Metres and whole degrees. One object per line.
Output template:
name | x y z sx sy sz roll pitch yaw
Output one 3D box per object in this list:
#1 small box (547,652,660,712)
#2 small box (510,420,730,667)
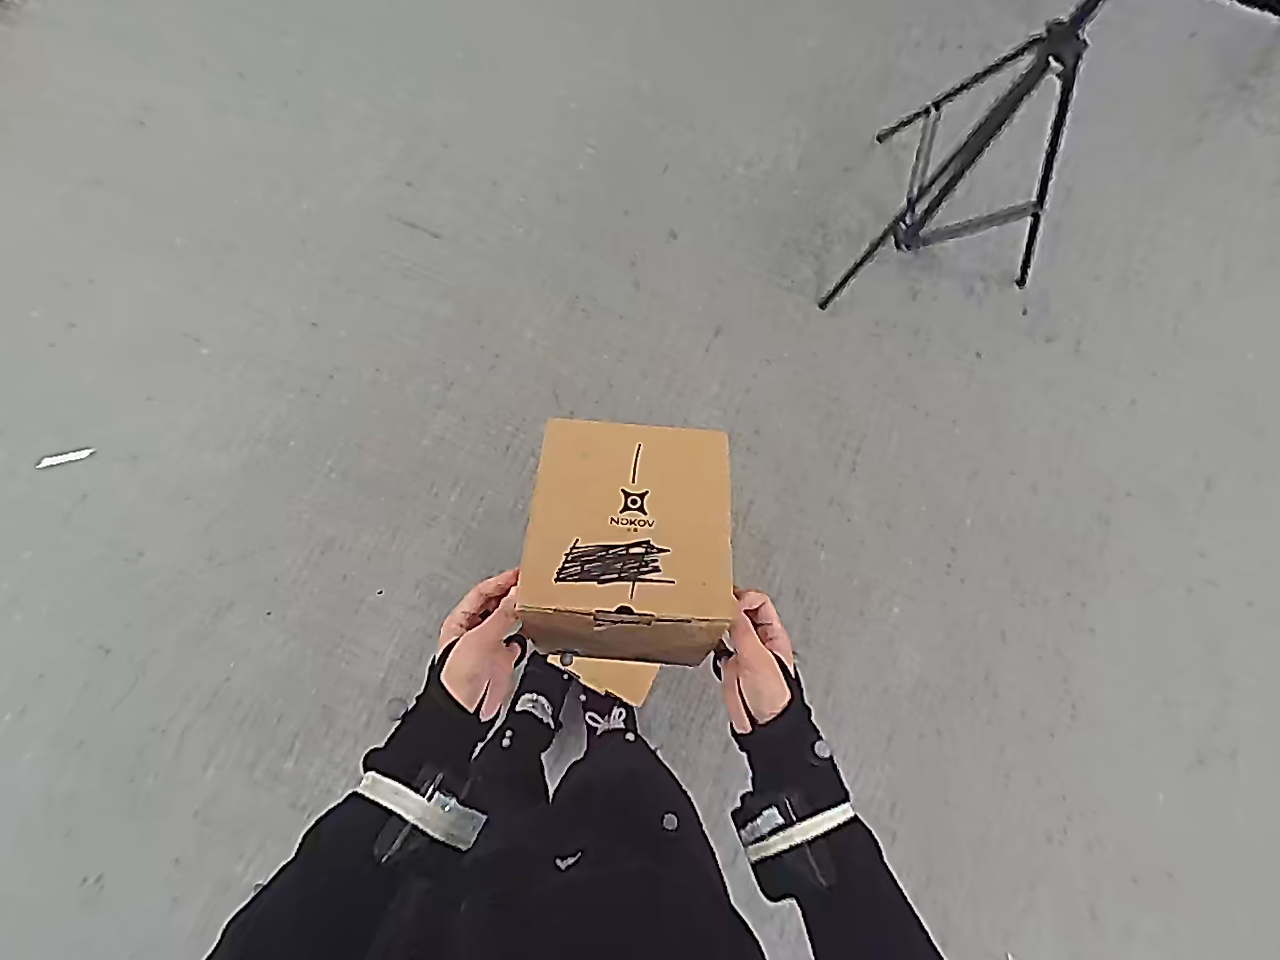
small box | -0.035 0.261 0.926 0.168 0.176 0.179 26 79 5
small box | -0.012 0.068 0.502 0.168 0.176 0.179 5 60 -1
